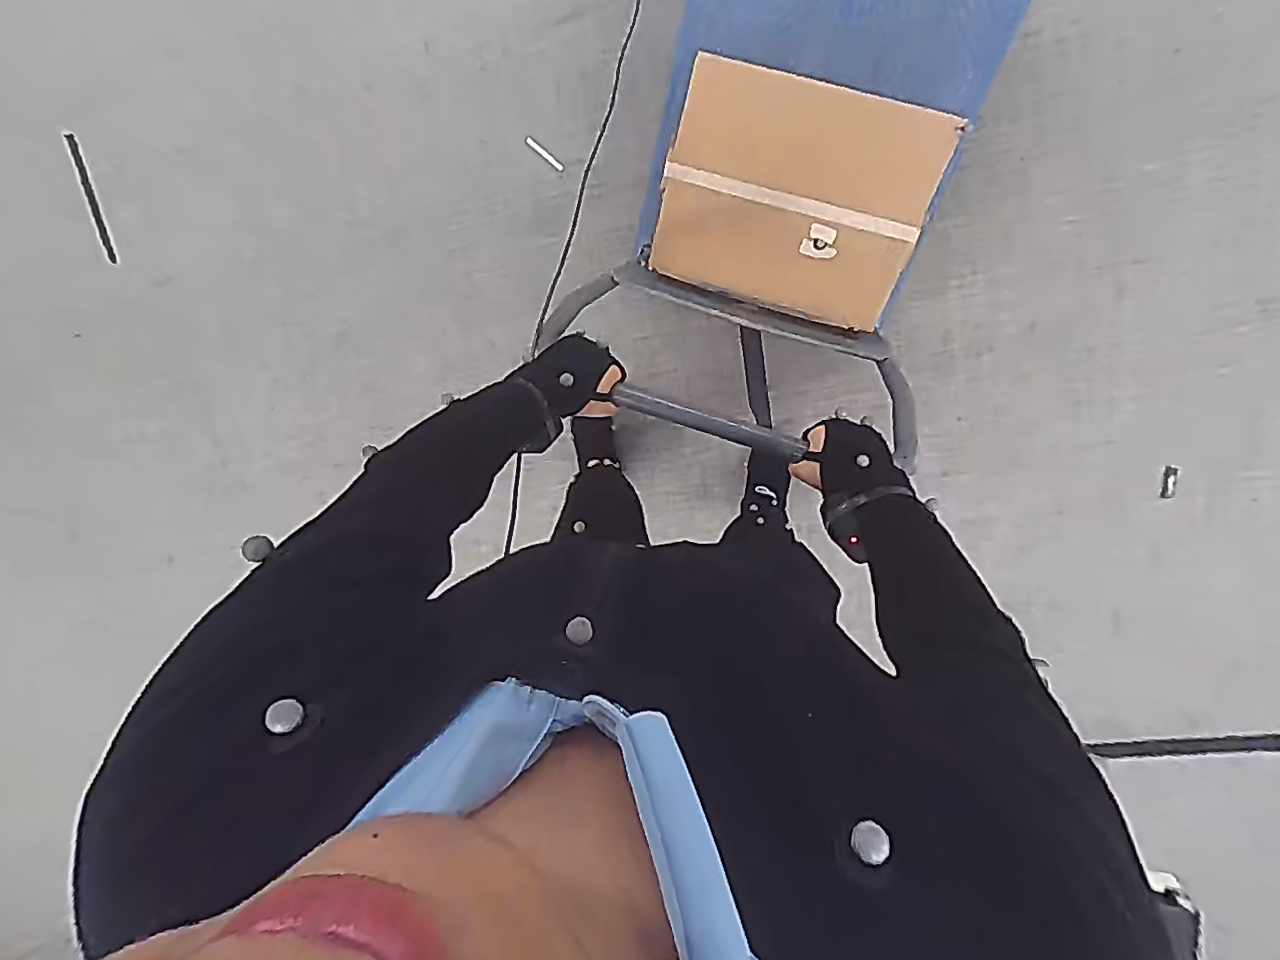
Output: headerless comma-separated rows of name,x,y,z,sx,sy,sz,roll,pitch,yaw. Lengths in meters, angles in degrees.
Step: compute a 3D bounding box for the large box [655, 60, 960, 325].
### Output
large box,0.275,-0.515,1.003,0.408,0.320,0.320,18,120,5
